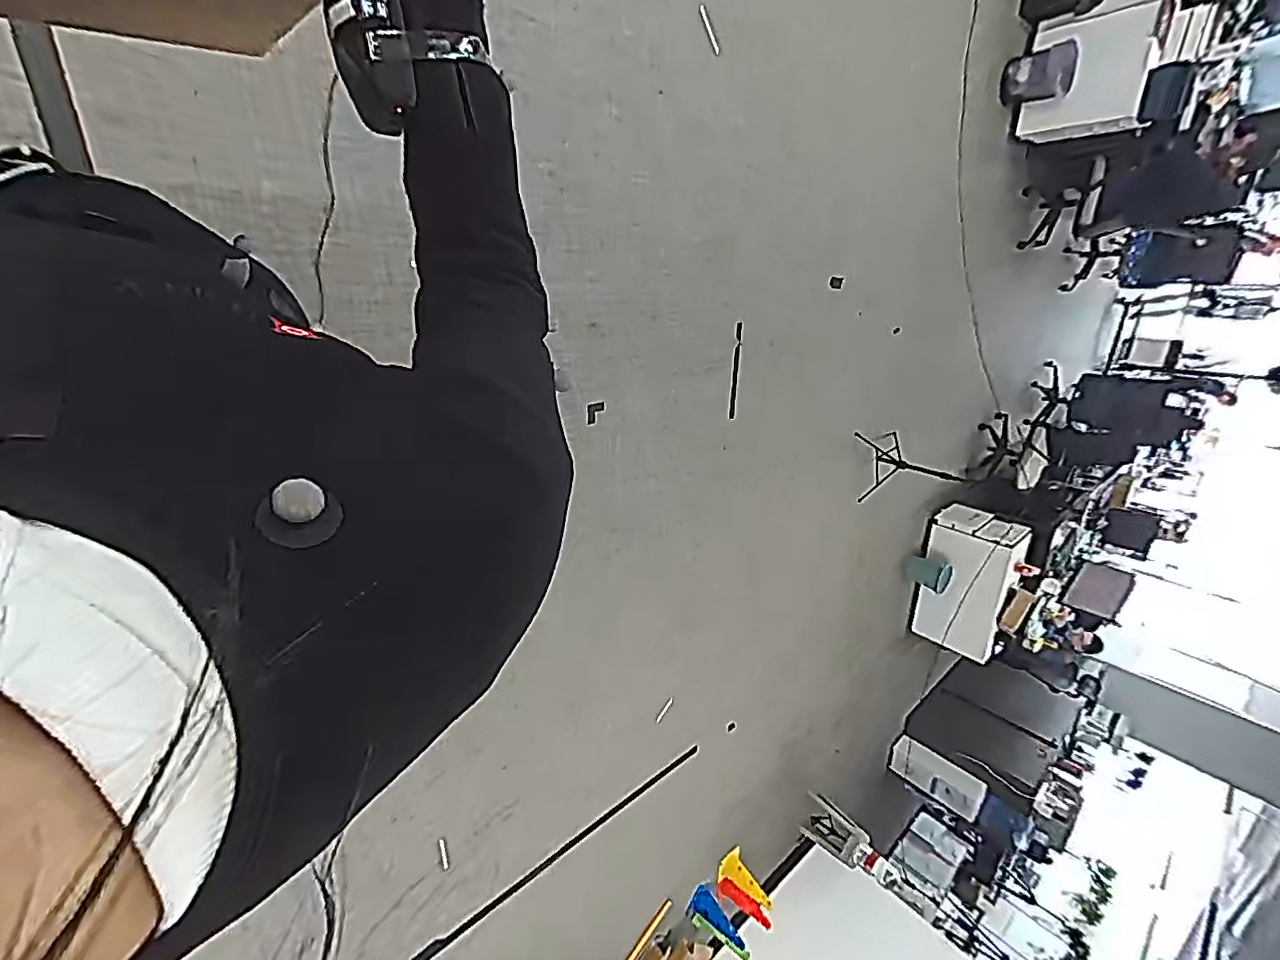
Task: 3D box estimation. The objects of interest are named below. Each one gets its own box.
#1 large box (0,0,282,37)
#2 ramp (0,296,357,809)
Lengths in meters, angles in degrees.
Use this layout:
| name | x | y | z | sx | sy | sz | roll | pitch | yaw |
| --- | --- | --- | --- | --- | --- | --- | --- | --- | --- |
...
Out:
| name | x | y | z | sx | sy | sz | roll | pitch | yaw |
| --- | --- | --- | --- | --- | --- | --- | --- | --- | --- |
| large box | -0.414 | -0.430 | 0.220 | 0.408 | 0.320 | 0.320 | -21 | 126 | -36 |
| ramp | -0.956 | 0.132 | 1.142 | 0.509 | 0.206 | 0.991 | -15 | 115 | -37 |
